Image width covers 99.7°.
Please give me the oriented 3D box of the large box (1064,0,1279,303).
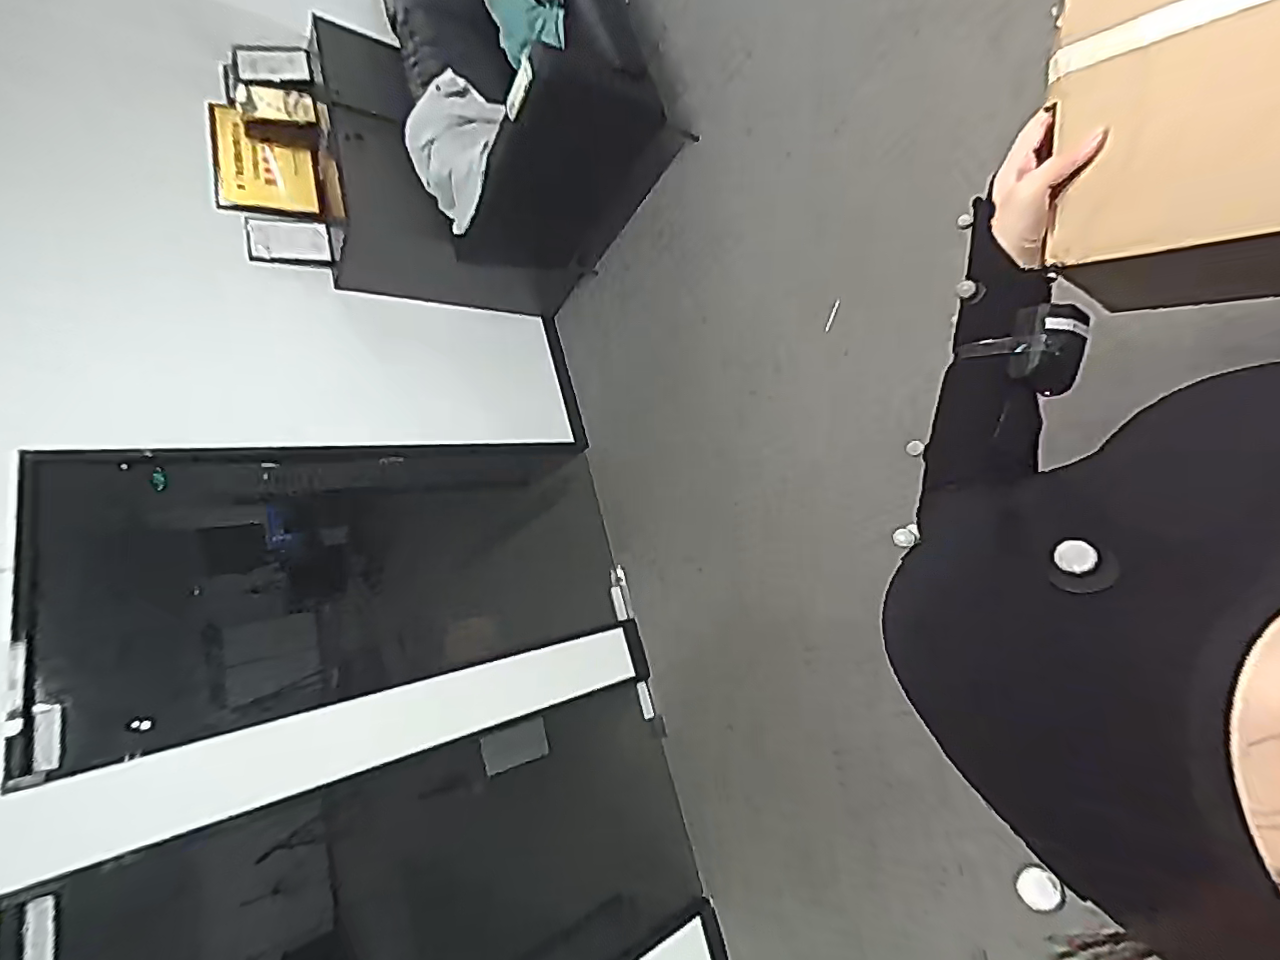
[{"bbox_3d":[0.583,-0.334,0.380,0.408,0.320,0.320,7,100,47],"label":"large box"}]
